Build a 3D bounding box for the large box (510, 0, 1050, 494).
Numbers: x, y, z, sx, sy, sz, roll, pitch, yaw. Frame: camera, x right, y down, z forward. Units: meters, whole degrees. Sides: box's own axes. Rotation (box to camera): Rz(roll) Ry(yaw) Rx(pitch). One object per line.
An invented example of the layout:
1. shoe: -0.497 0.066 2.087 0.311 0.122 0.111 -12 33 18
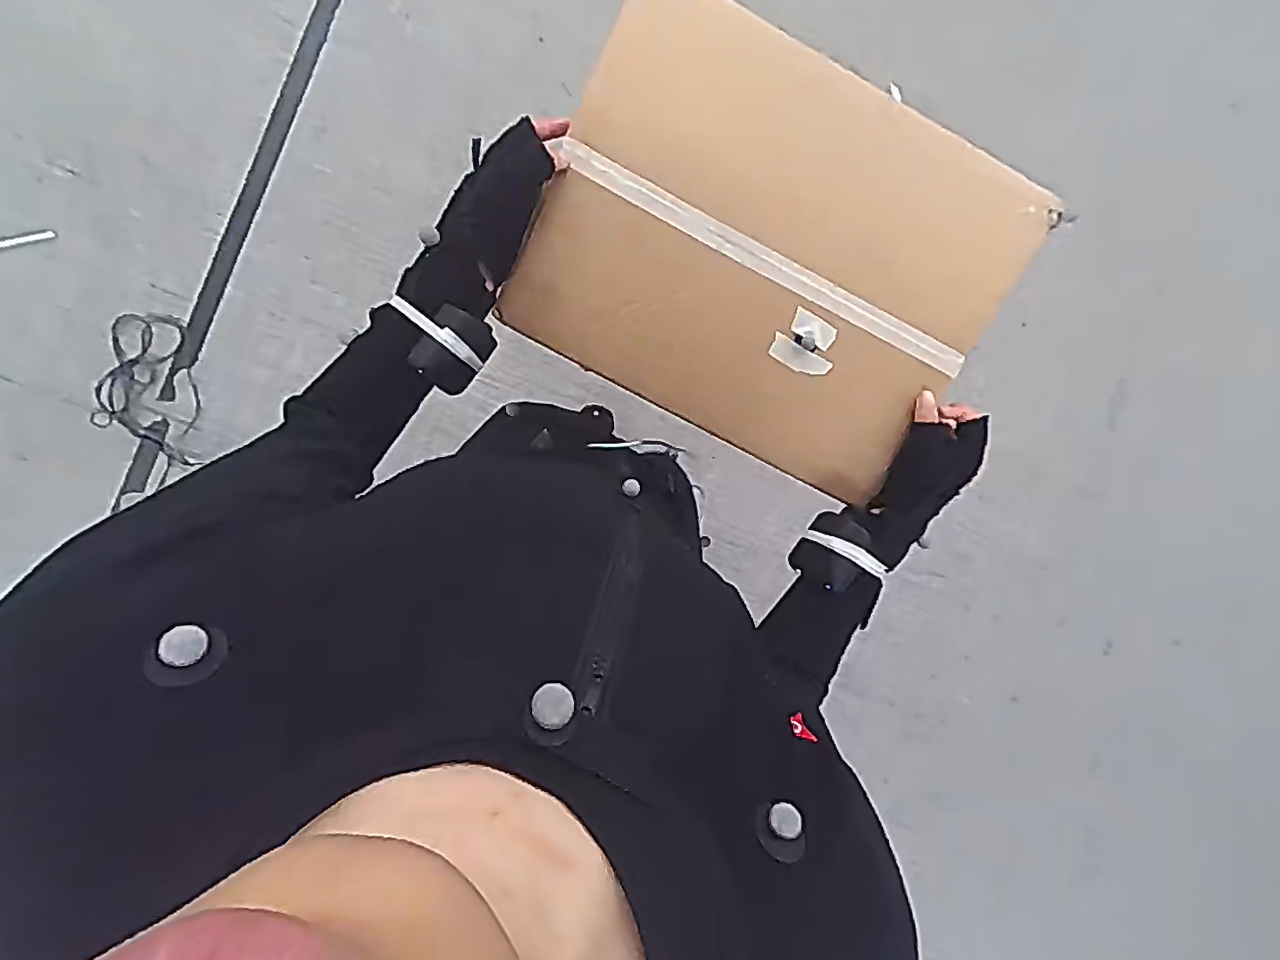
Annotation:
1. large box: 0.121 -0.238 0.636 0.408 0.320 0.320 27 105 -6
